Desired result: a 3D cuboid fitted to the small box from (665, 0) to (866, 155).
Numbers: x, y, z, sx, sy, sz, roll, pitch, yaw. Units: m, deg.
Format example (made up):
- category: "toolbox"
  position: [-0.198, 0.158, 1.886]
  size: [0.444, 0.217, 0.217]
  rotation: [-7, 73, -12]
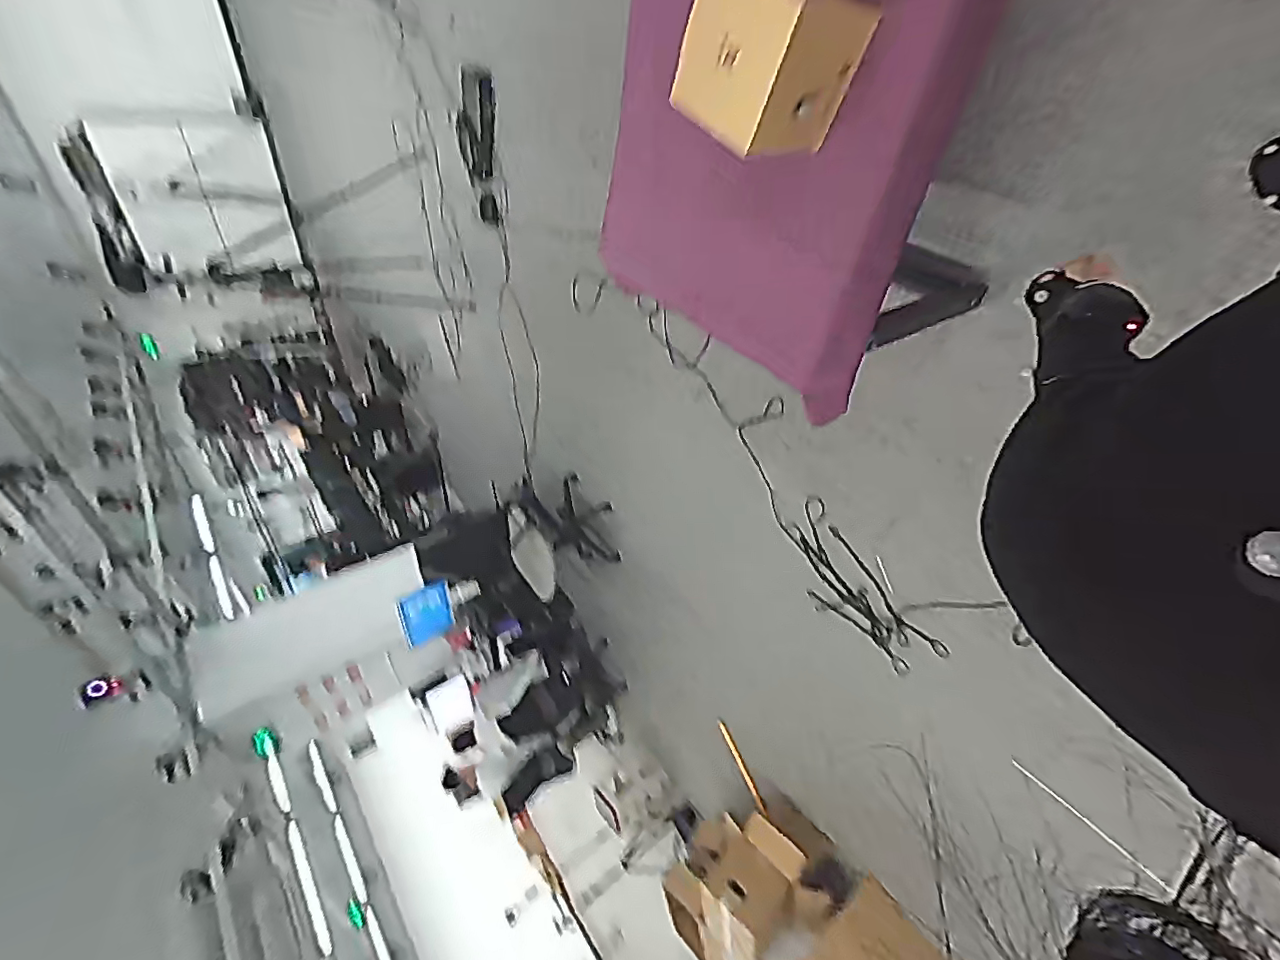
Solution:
- category: "small box"
  position: [0.167, -0.576, 0.738]
  size: [0.179, 0.176, 0.168]
  rotation: [51, 146, 23]
